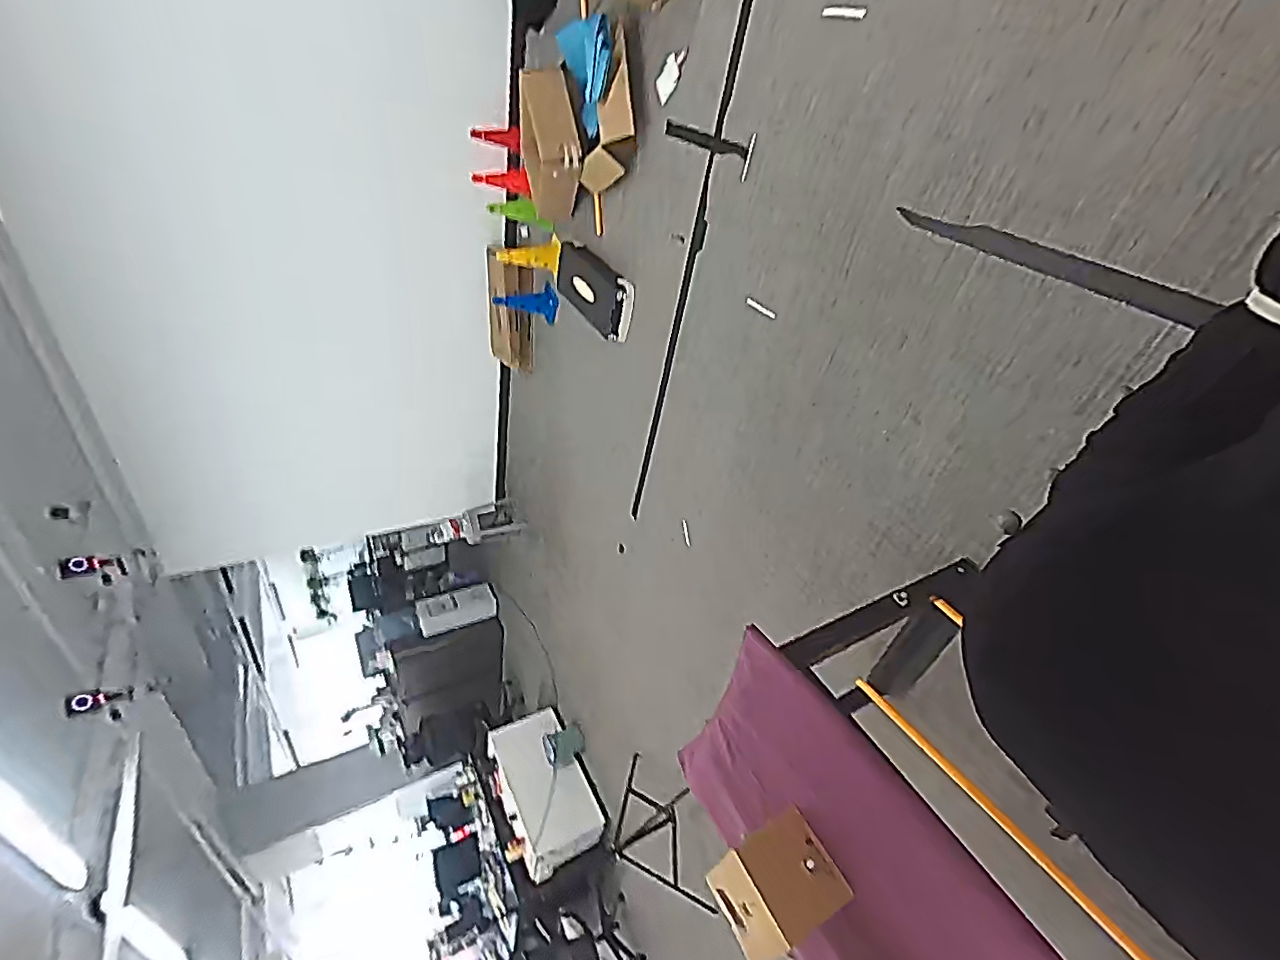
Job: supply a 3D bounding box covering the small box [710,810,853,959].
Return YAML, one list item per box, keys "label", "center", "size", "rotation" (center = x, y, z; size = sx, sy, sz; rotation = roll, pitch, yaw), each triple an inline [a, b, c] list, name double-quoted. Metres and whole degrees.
- label: "small box"
  center: [0.265, 0.769, 1.021]
  size: [0.168, 0.176, 0.179]
  rotation: [52, 140, 37]
